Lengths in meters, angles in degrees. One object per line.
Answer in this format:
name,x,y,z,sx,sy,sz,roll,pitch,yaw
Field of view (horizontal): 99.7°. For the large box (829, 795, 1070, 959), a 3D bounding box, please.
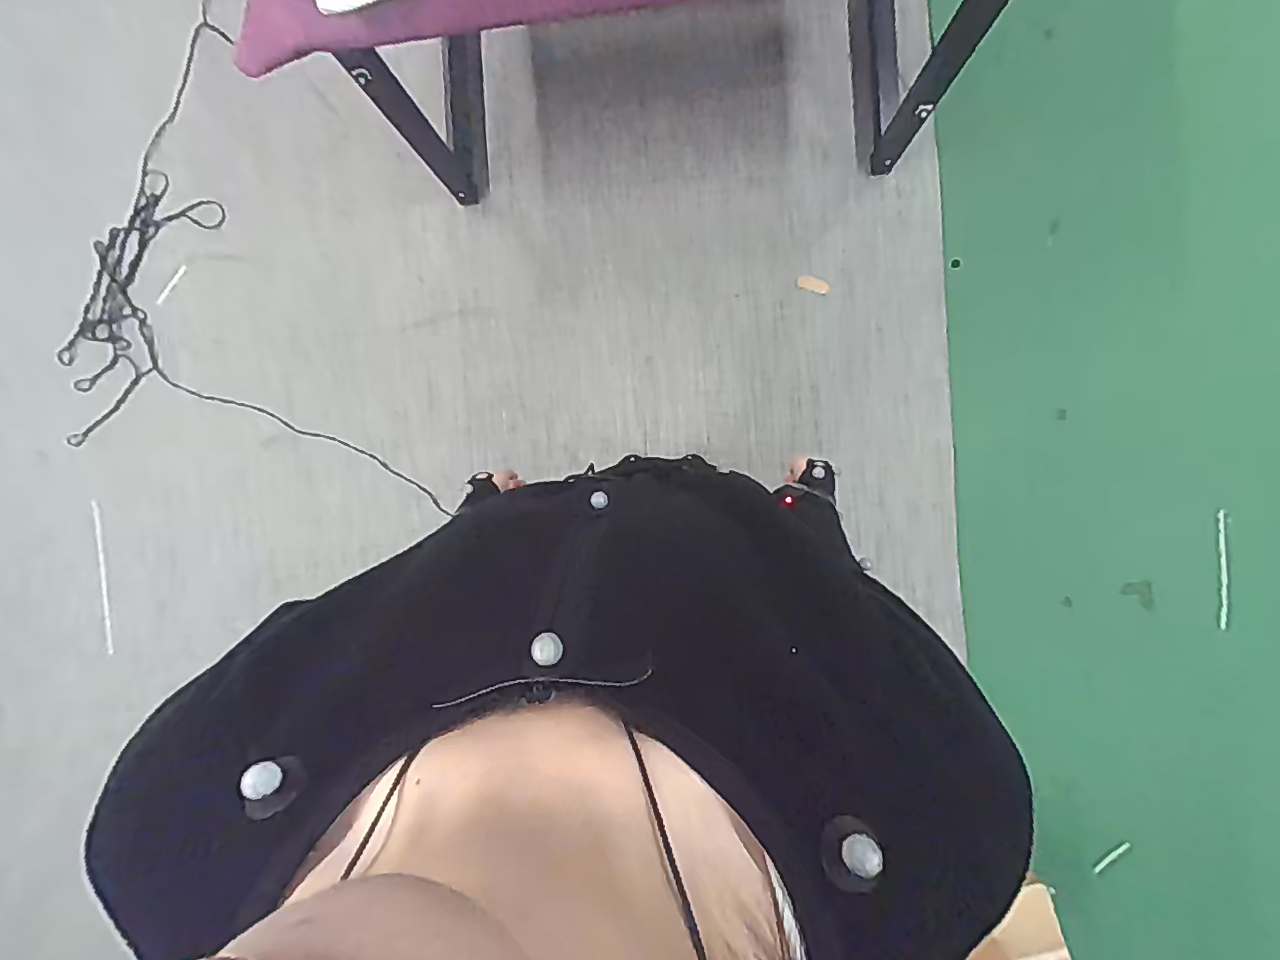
large box,0.745,1.062,1.340,0.408,0.320,0.320,-18,91,4
